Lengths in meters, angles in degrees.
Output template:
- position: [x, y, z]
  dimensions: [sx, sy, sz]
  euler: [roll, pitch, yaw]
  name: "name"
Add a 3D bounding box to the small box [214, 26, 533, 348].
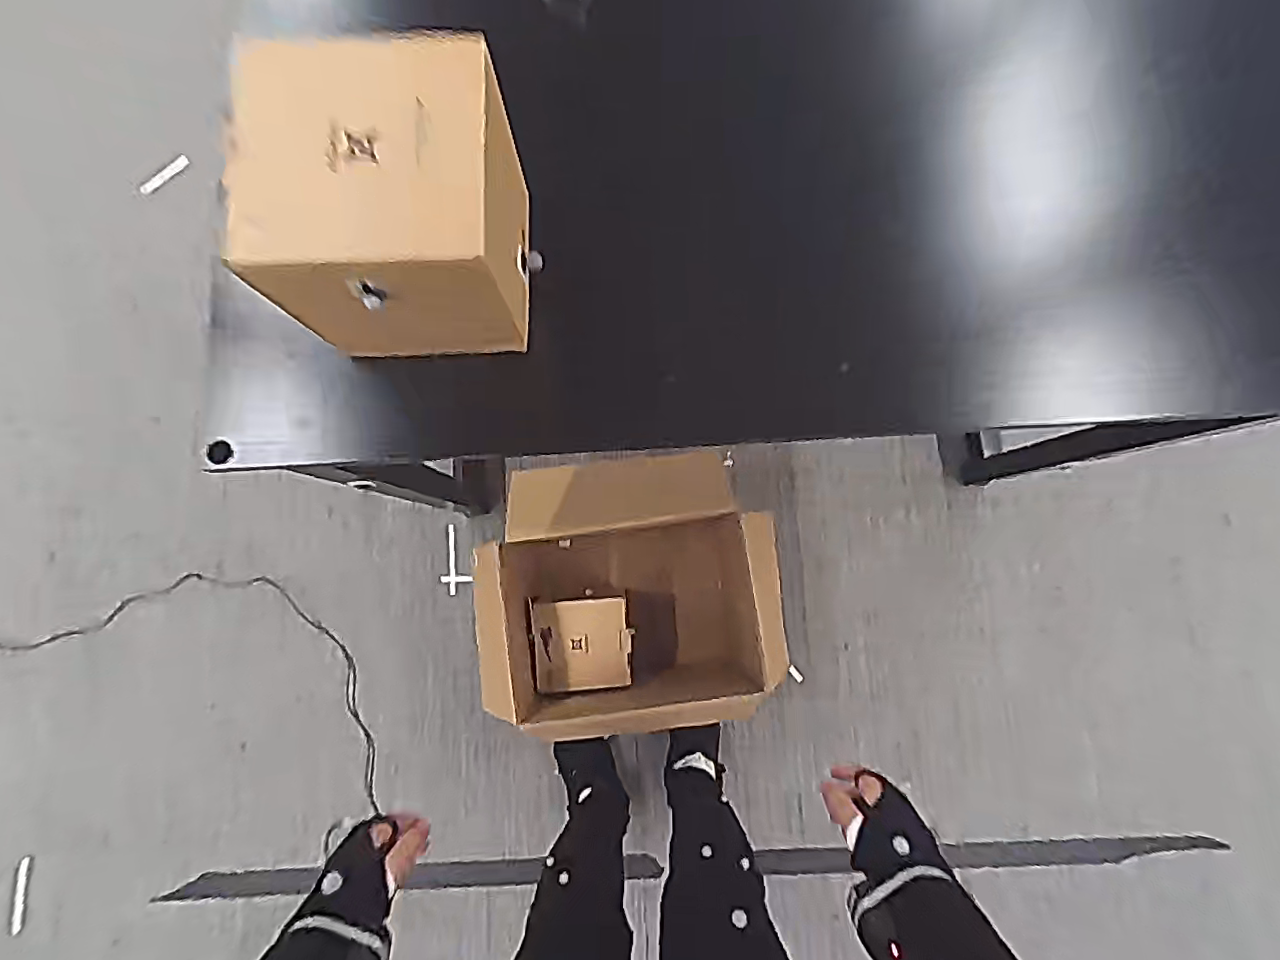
- position: [-0.189, -0.213, 0.435]
  dimensions: [0.179, 0.176, 0.168]
  euler: [-3, 83, -2]
  name: "small box"
